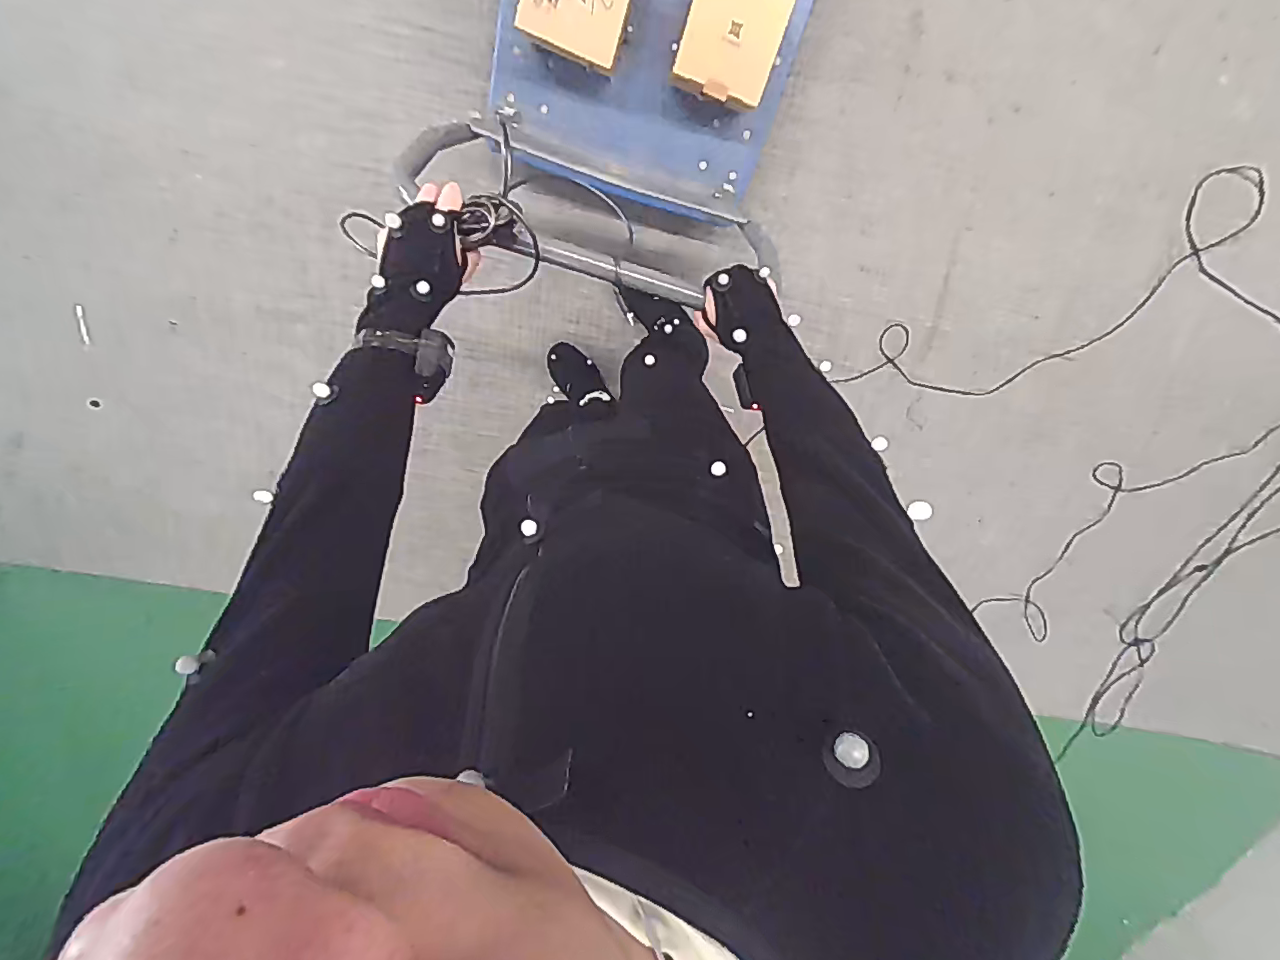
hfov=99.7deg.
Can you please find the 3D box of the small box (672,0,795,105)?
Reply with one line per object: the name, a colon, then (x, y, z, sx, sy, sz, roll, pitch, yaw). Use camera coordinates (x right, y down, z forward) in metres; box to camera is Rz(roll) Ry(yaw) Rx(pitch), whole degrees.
small box: (0.161, -0.815, 0.986, 0.168, 0.176, 0.179, 15, 122, -9)
